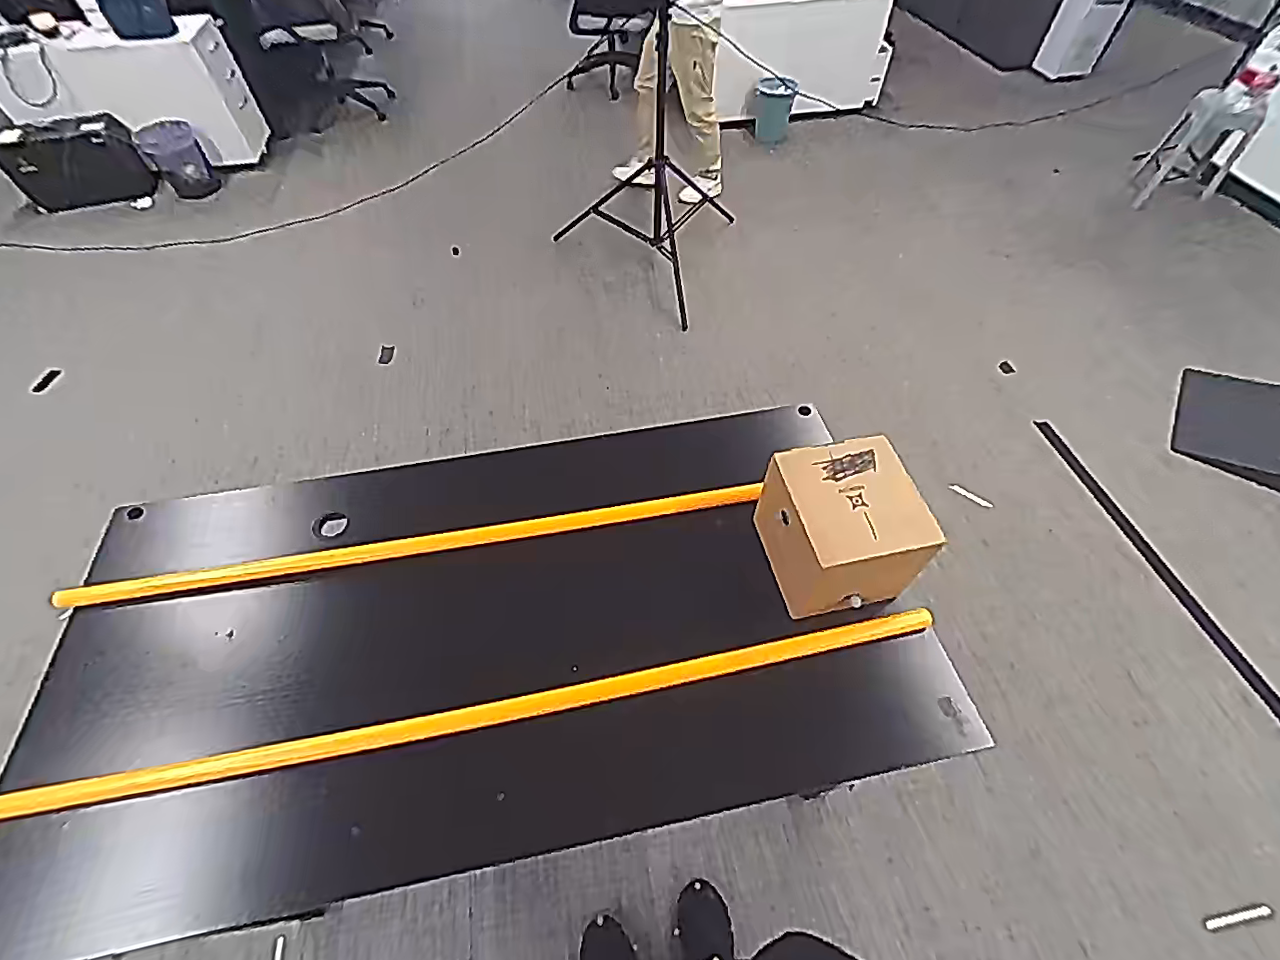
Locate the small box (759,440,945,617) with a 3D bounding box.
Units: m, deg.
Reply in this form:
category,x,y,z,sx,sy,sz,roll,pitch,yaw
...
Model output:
category,x,y,z,sx,sy,sz,roll,pitch,yaw
small box,0.280,0.071,0.765,0.168,0.176,0.179,-10,55,-5
